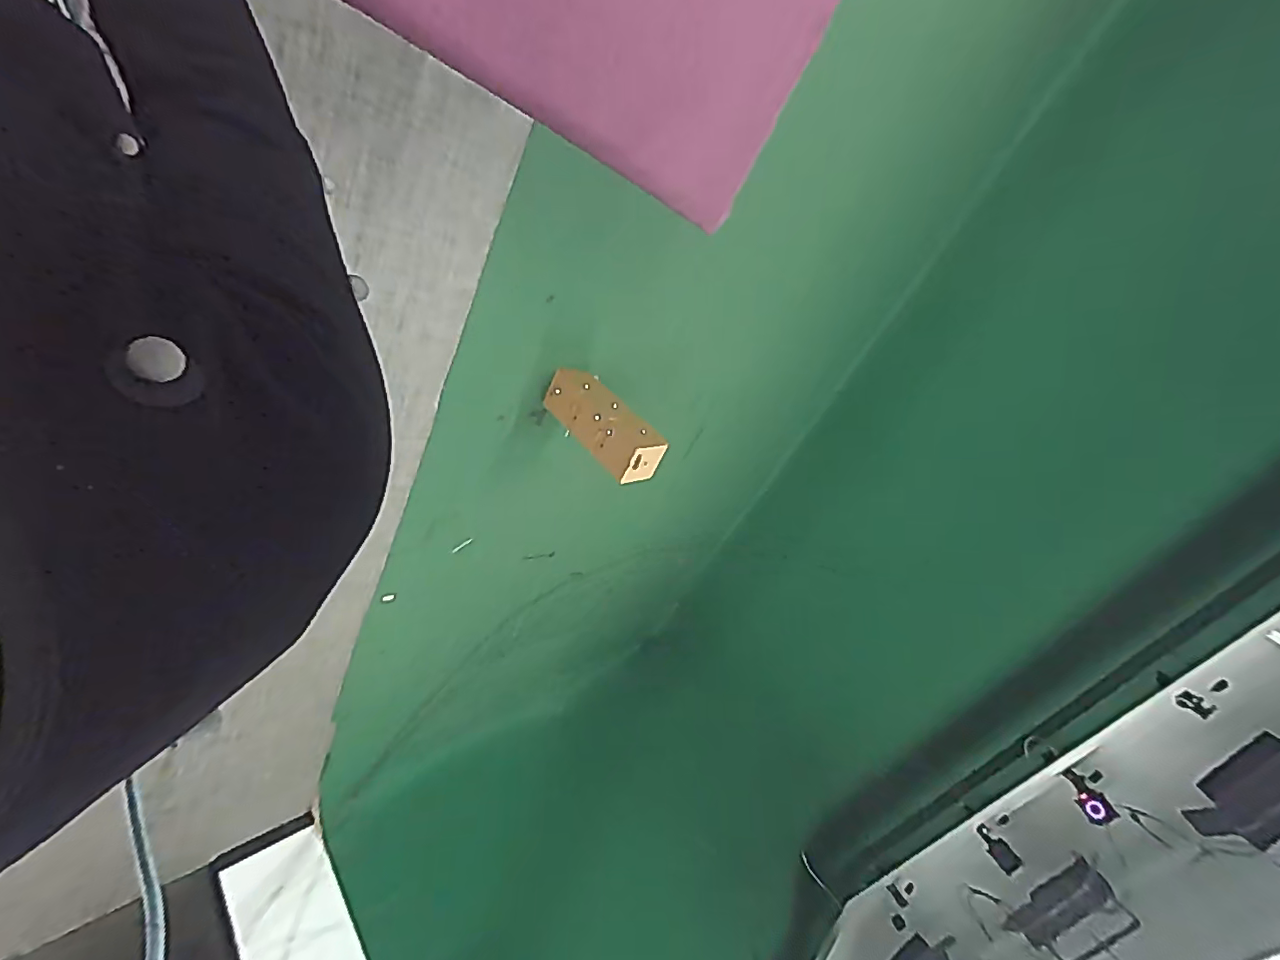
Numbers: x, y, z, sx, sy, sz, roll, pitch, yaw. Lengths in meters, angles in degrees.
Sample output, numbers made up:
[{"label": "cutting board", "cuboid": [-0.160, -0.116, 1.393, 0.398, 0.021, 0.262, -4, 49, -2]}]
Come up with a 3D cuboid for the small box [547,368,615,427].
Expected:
[{"label": "small box", "cuboid": [-0.237, -0.329, 2.150, 0.179, 0.176, 0.168, -4, 132, -50]}]

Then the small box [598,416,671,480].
[{"label": "small box", "cuboid": [-0.026, -0.122, 2.005, 0.179, 0.176, 0.168, -12, 139, -47]}]
